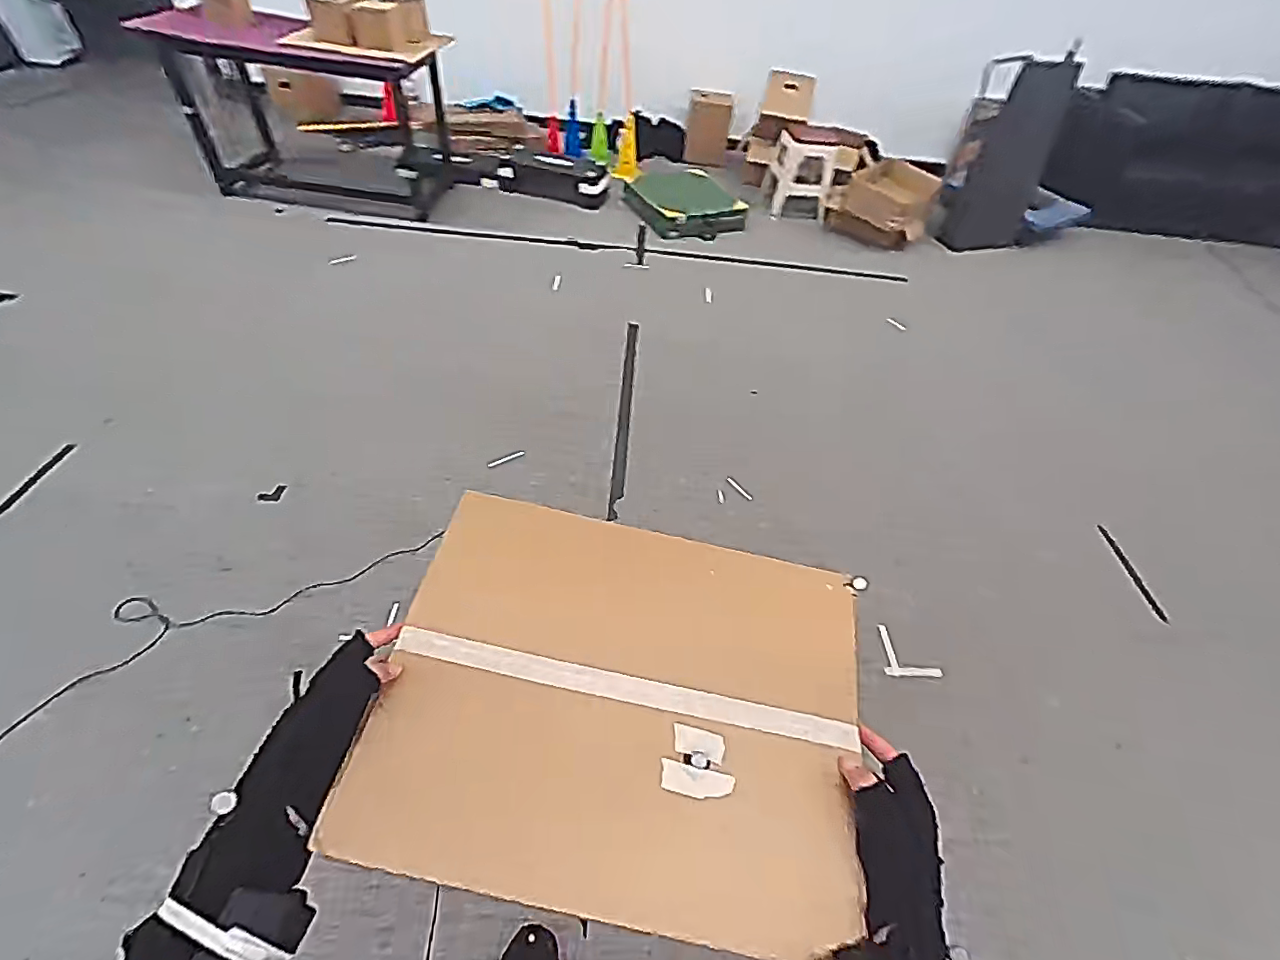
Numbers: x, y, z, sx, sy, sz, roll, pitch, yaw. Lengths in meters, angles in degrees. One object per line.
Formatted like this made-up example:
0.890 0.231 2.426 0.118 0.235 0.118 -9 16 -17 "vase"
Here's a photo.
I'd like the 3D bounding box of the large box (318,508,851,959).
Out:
-0.036 0.271 0.596 0.408 0.320 0.320 12 56 0 "large box"
